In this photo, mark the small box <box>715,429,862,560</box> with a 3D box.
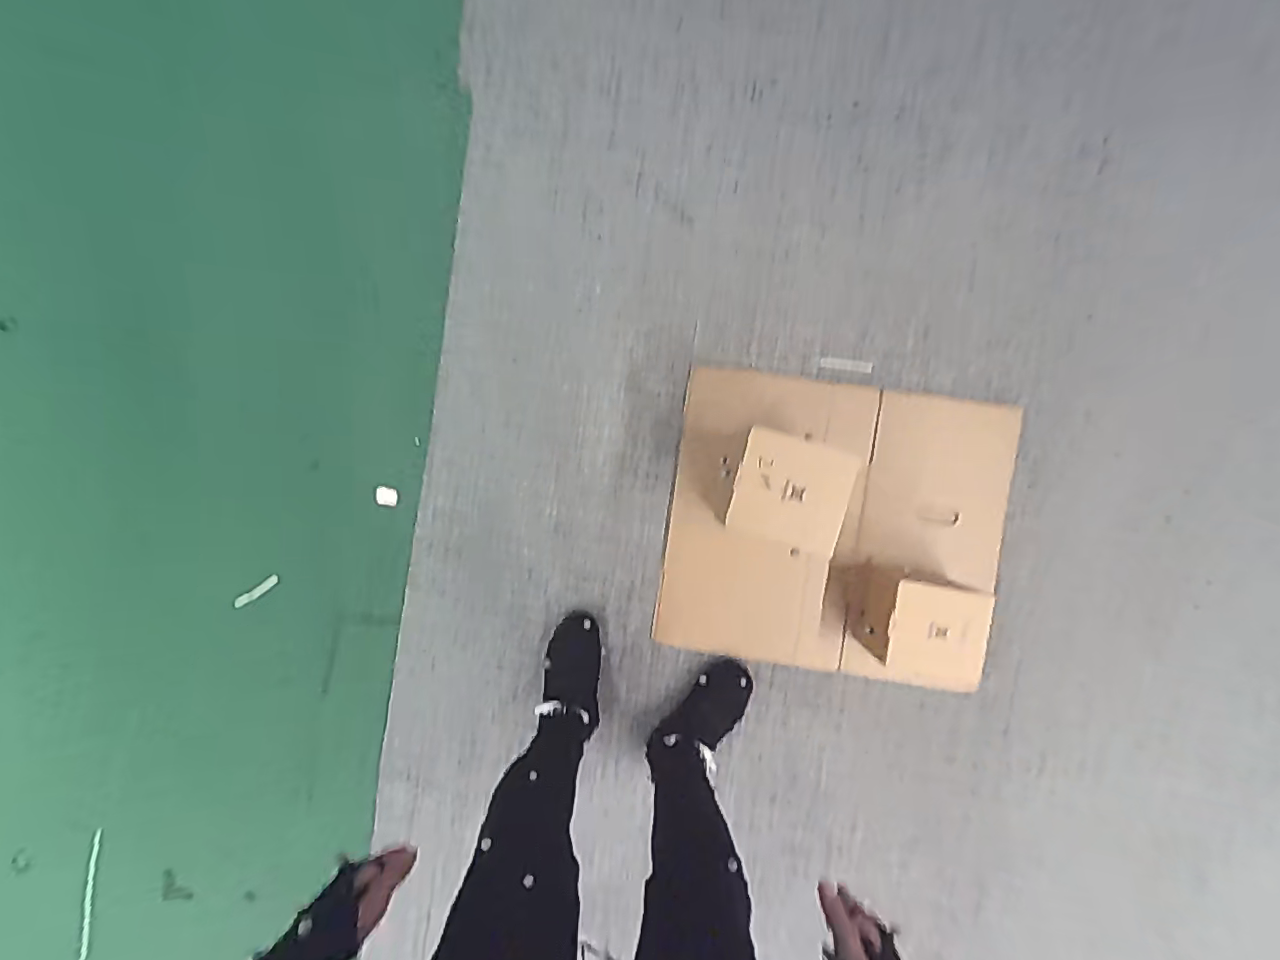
[{"bbox_3d":[0.237,0.020,0.906,0.179,0.176,0.168,16,91,2],"label":"small box"}]

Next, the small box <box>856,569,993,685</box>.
[{"bbox_3d":[0.546,0.278,1.064,0.179,0.176,0.168,10,92,3],"label":"small box"}]

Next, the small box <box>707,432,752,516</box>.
[{"bbox_3d":[0.242,0.010,1.072,0.179,0.176,0.168,17,91,2],"label":"small box"}]
